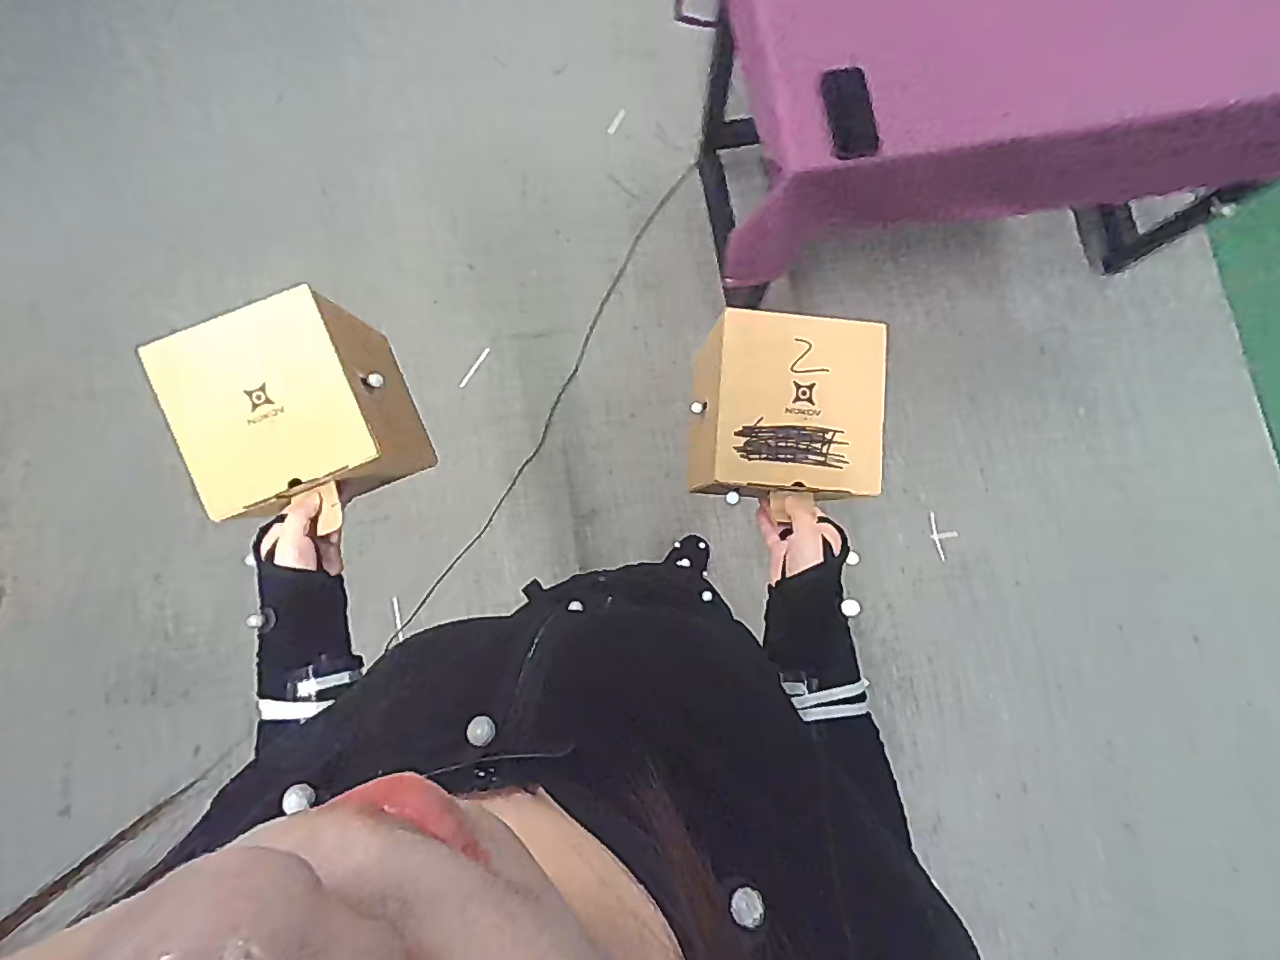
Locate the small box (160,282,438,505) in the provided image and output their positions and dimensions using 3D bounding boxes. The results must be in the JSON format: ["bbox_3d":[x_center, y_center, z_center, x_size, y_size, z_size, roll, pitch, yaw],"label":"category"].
[{"bbox_3d":[-0.347,-0.079,0.587,0.168,0.176,0.179,-21,90,-3],"label":"small box"}]
